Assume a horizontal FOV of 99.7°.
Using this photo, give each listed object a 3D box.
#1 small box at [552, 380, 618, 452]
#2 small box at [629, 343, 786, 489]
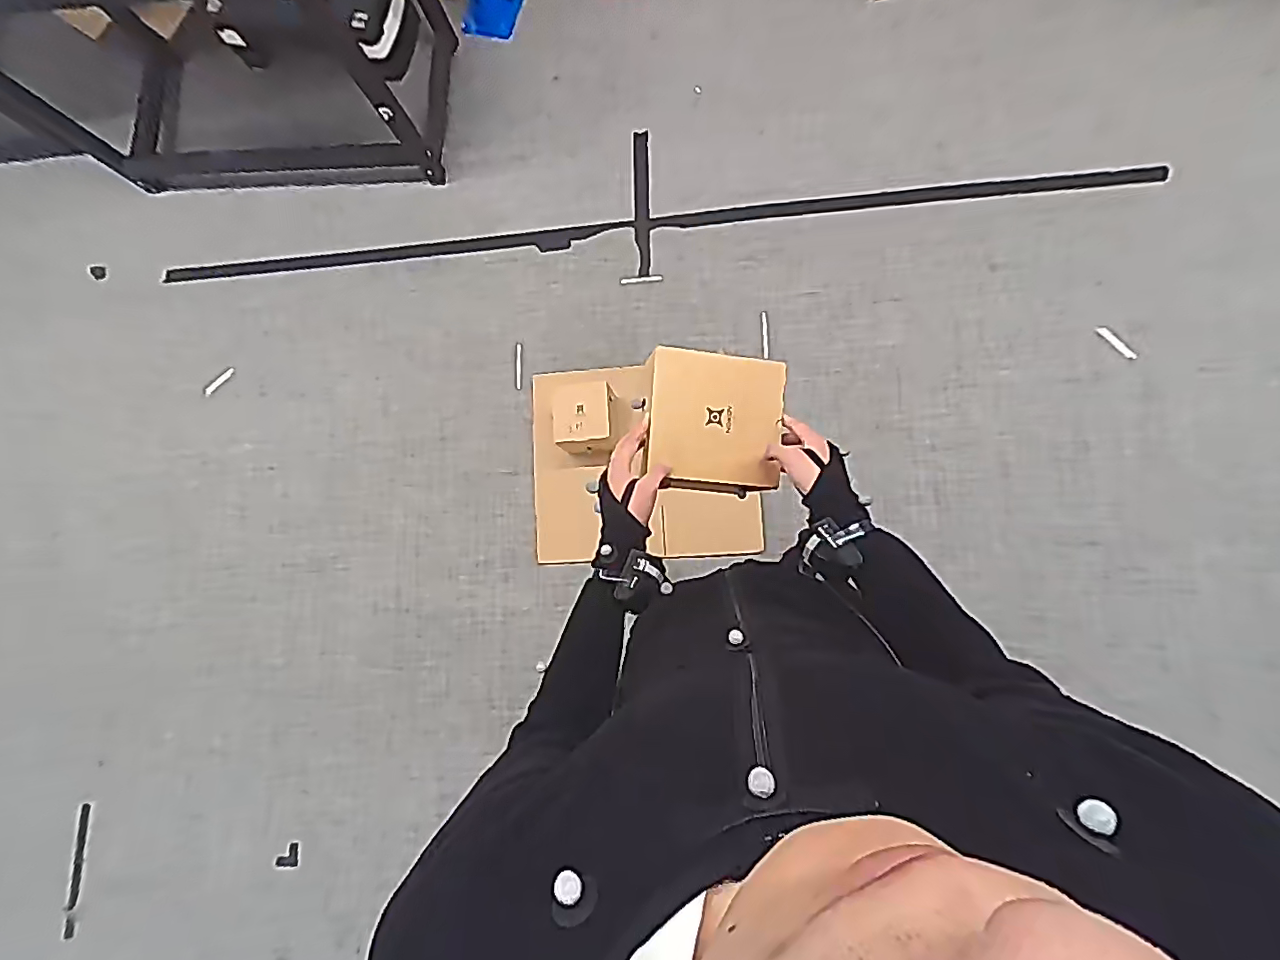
[{"bbox_3d":[-0.163,-0.189,1.629,0.168,0.176,0.179,-4,82,7],"label":"small box"},{"bbox_3d":[0.083,-0.077,0.753,0.179,0.176,0.168,5,86,-10],"label":"small box"}]
